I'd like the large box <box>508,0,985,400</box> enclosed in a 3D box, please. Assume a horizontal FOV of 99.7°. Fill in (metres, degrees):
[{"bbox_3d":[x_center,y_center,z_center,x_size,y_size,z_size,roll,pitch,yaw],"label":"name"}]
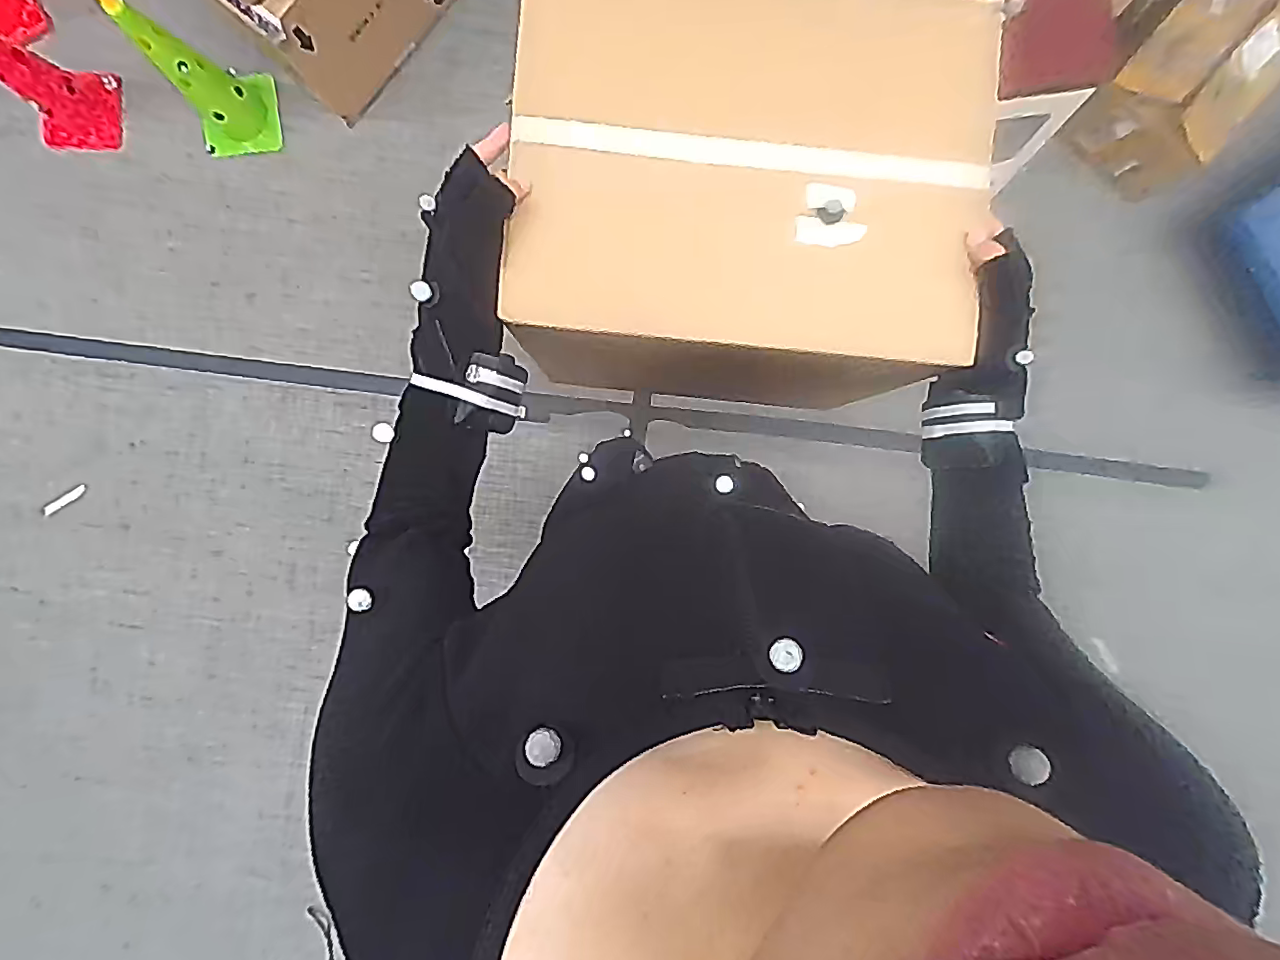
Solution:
[{"bbox_3d":[0.087,-0.279,0.611,0.408,0.320,0.320,5,90,-3],"label":"large box"}]
